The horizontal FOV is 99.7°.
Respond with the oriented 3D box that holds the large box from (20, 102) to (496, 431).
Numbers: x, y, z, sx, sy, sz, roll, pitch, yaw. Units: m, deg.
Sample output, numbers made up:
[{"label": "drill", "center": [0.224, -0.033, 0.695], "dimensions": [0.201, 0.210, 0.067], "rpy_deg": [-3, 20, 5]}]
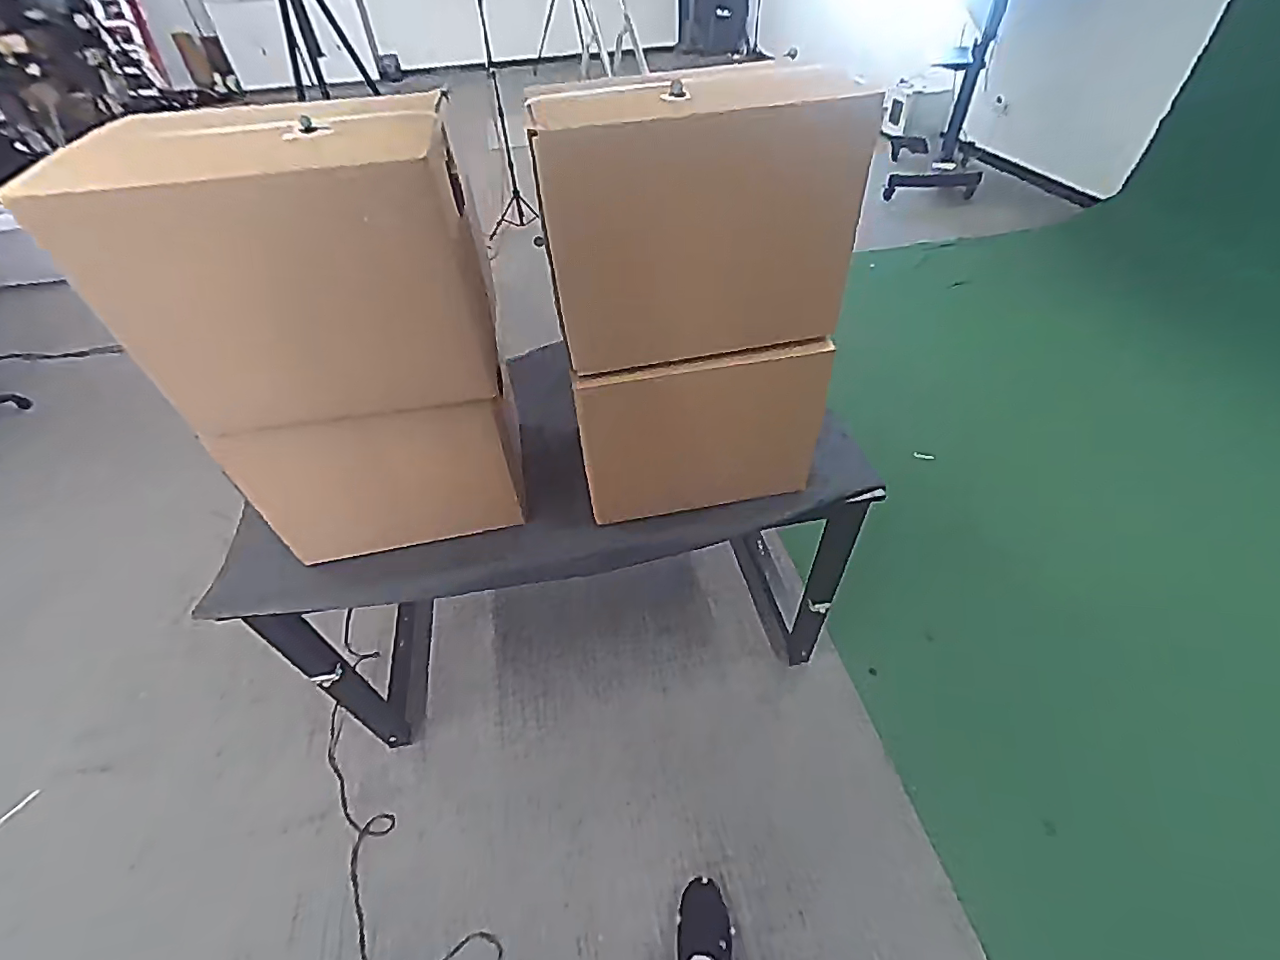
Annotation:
[{"label": "large box", "center": [-0.432, -0.300, 0.751], "dimensions": [0.408, 0.320, 0.320], "rpy_deg": [-8, 48, -7]}]
